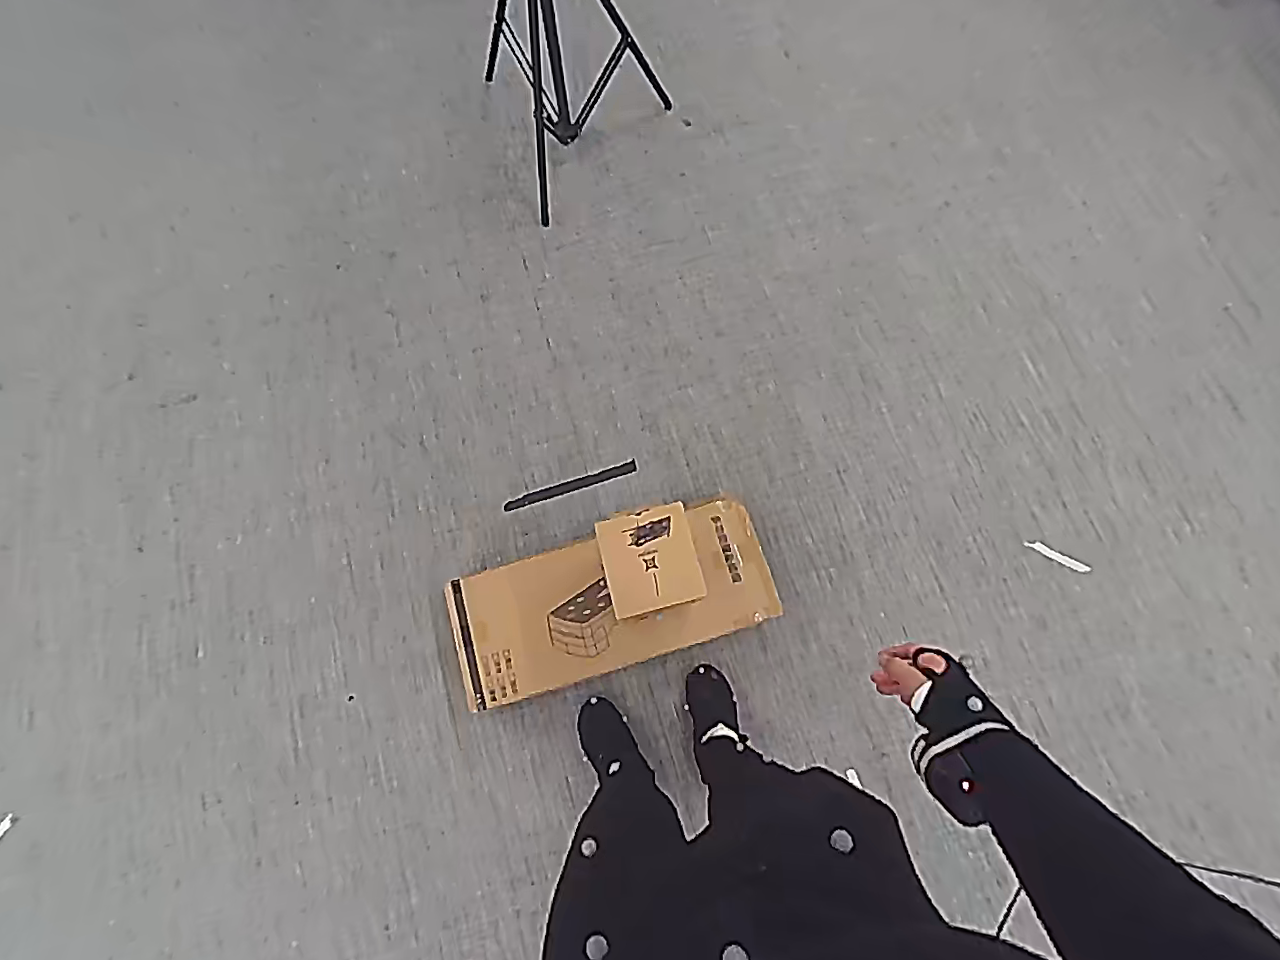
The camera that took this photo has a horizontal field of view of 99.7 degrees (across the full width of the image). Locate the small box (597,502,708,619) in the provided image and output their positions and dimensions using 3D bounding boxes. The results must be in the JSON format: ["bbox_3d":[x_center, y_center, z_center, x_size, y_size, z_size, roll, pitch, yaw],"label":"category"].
[{"bbox_3d":[0.019,0.159,1.025,0.168,0.176,0.179,-14,75,-3],"label":"small box"}]
